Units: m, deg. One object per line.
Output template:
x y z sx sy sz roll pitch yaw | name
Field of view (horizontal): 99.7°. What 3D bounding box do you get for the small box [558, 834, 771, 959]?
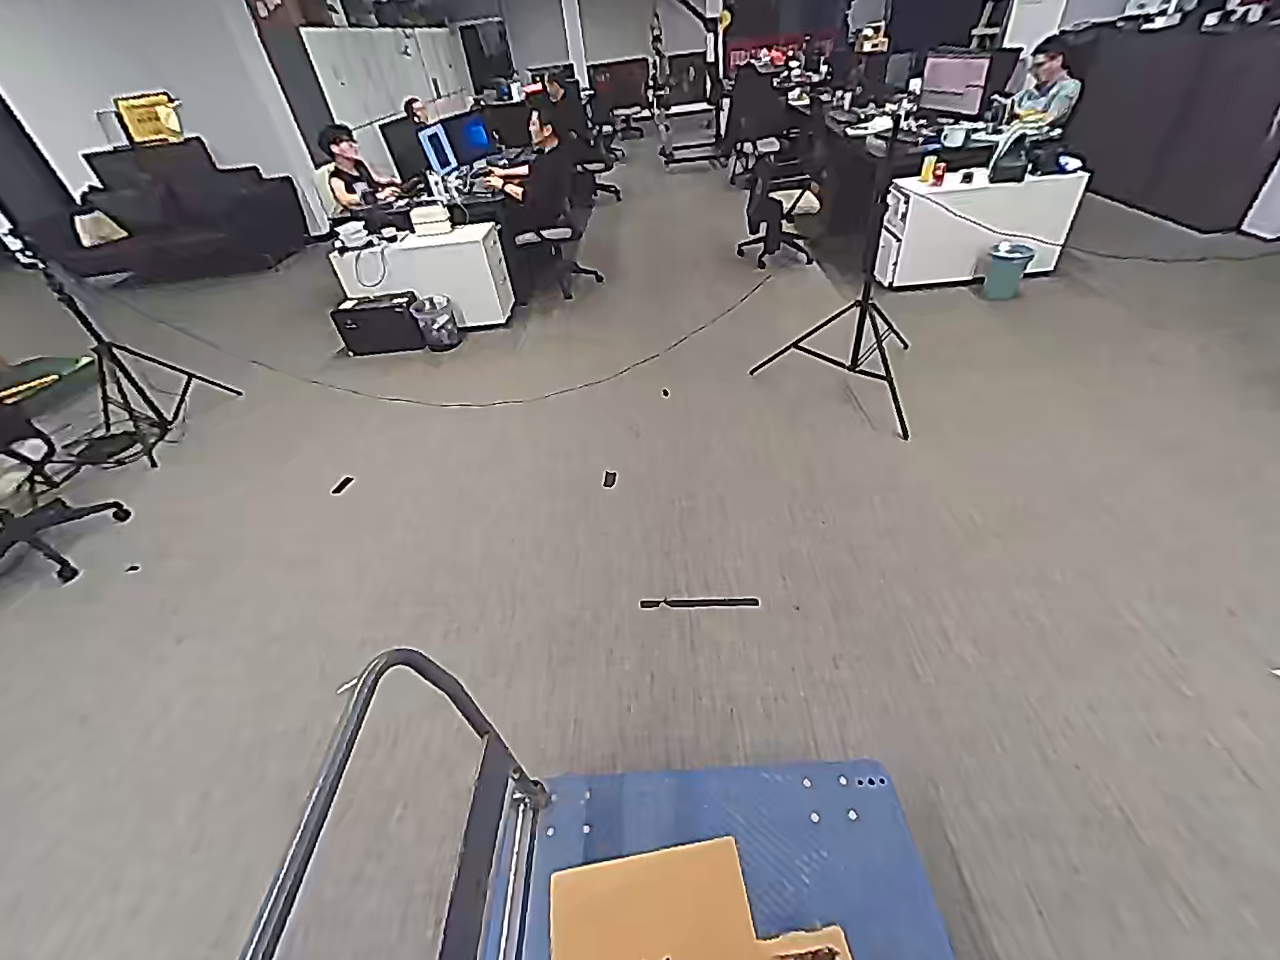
0.029 0.436 0.462 0.168 0.176 0.179 -11 45 -1 | small box
